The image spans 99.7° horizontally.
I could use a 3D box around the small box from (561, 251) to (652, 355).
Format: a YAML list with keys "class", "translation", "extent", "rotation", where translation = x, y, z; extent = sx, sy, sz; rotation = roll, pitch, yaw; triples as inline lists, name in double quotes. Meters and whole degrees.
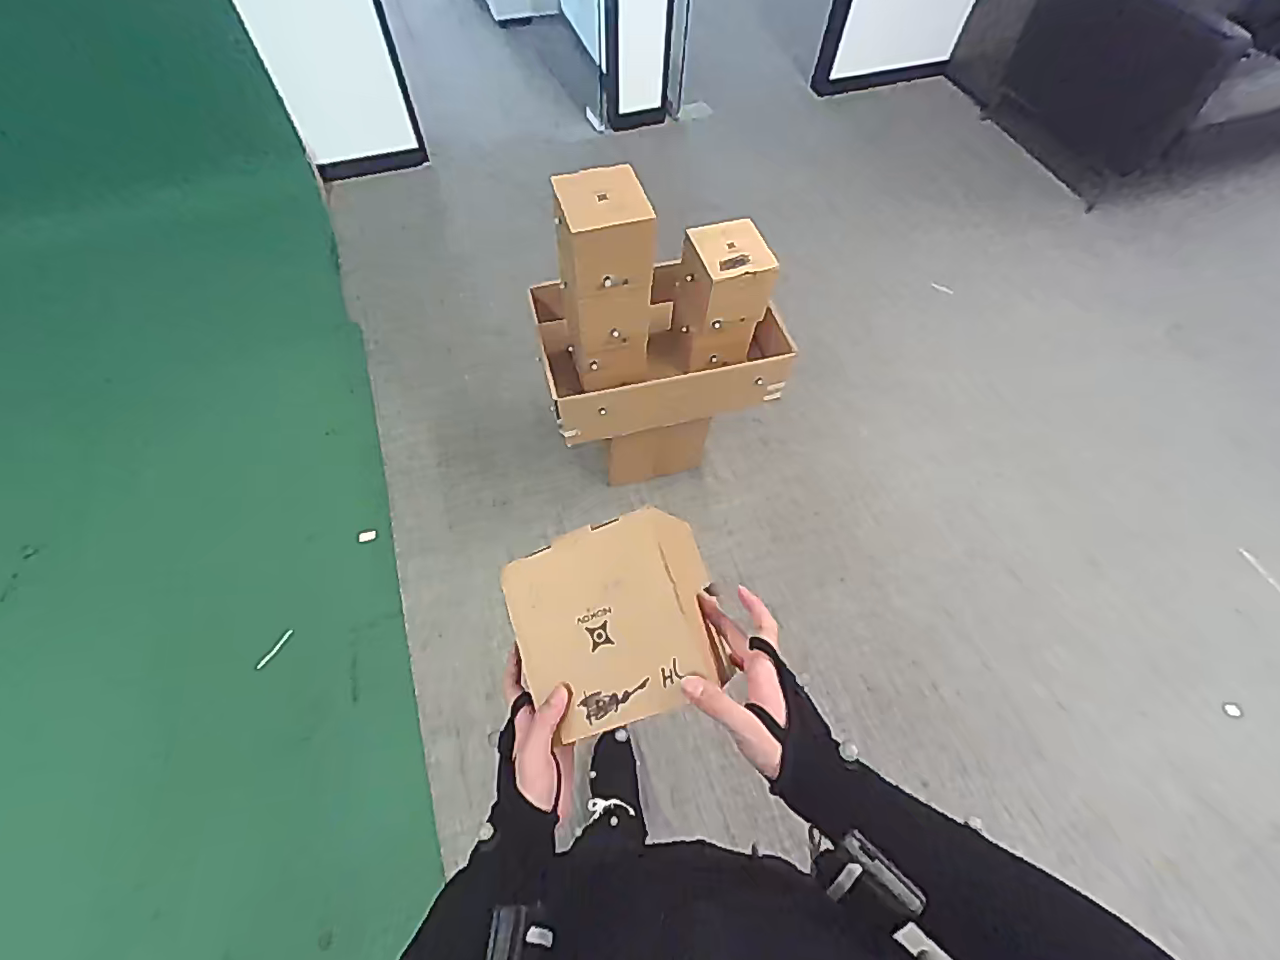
- class: "small box"
  translation: [-0.080, -0.420, 1.250]
  extent: [0.168, 0.176, 0.179]
  rotation: [-15, 63, -10]

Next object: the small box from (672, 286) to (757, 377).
- class: "small box"
  translation: [0.190, -0.402, 1.443]
  extent: [0.168, 0.176, 0.179]
  rotation: [-10, 63, -9]

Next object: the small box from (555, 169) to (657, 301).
- class: "small box"
  translation: [-0.072, -0.497, 1.107]
  extent: [0.168, 0.176, 0.179]
  rotation: [-14, 62, -9]

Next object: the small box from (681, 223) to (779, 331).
- class: "small box"
  translation: [0.207, -0.478, 1.297]
  extent: [0.168, 0.176, 0.179]
  rotation: [-14, 63, -11]
